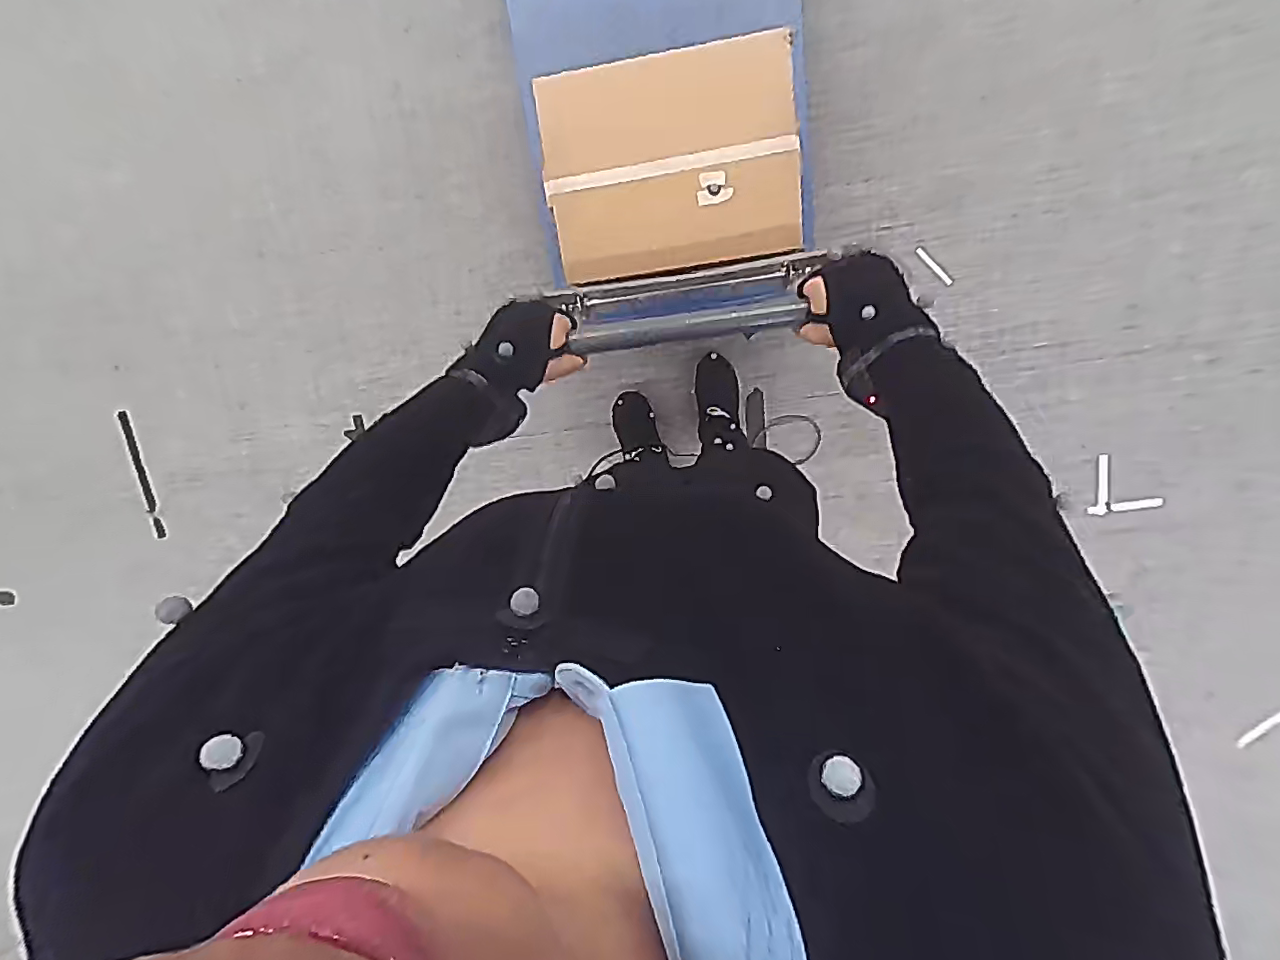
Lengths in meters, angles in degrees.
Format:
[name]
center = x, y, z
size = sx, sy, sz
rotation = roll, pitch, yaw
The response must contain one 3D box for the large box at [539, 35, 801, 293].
[large box]
center = 0.062, -0.554, 1.033
size = 0.408, 0.320, 0.320
rotation = -7, 107, 6
